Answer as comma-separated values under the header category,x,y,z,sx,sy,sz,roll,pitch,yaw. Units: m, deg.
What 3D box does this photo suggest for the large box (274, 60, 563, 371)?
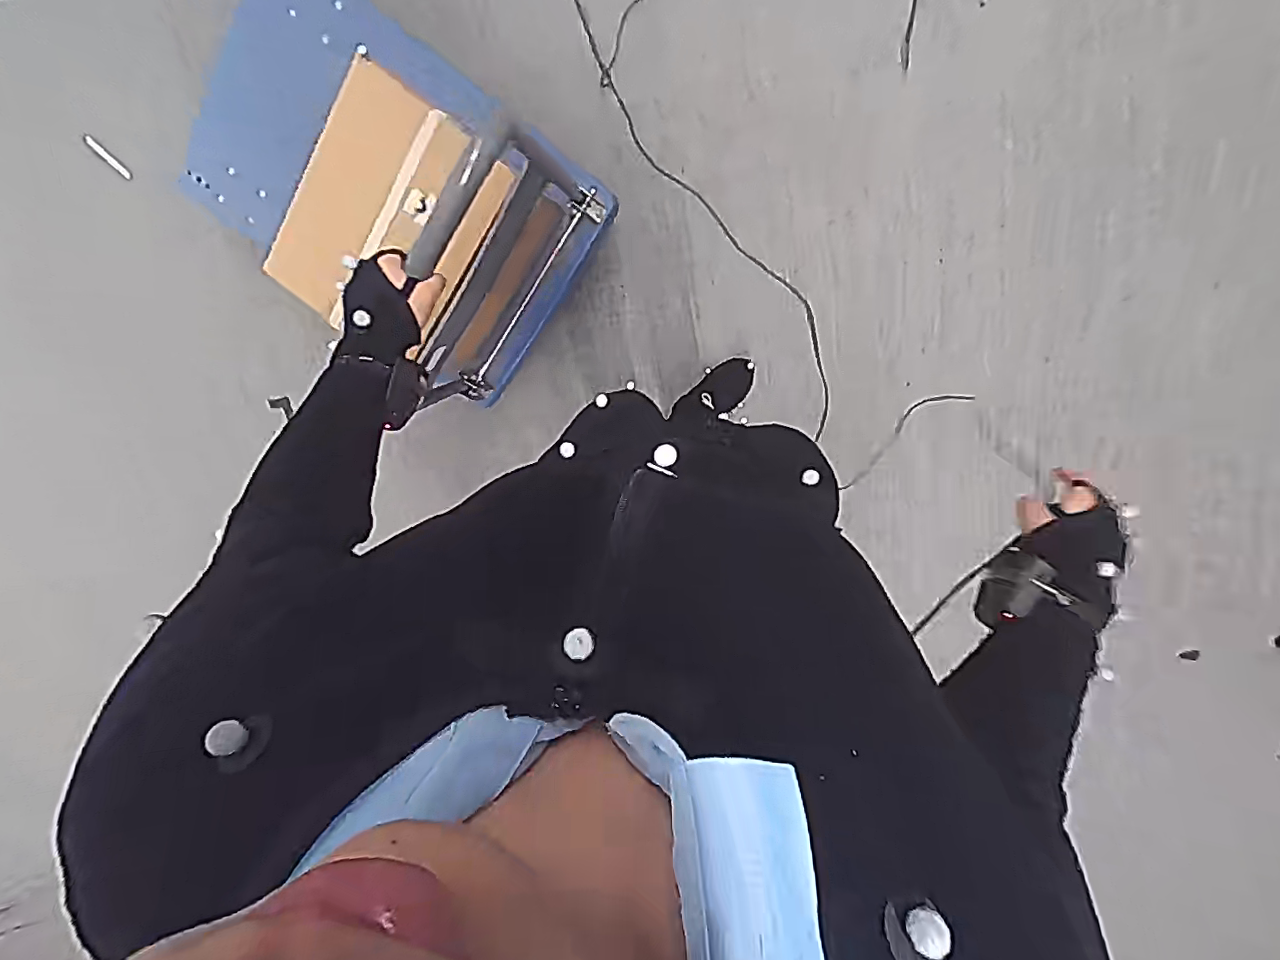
category,x,y,z,sx,sy,sz,roll,pitch,yaw
large box,-0.415,-0.476,1.075,0.320,0.320,0.408,36,107,-6
